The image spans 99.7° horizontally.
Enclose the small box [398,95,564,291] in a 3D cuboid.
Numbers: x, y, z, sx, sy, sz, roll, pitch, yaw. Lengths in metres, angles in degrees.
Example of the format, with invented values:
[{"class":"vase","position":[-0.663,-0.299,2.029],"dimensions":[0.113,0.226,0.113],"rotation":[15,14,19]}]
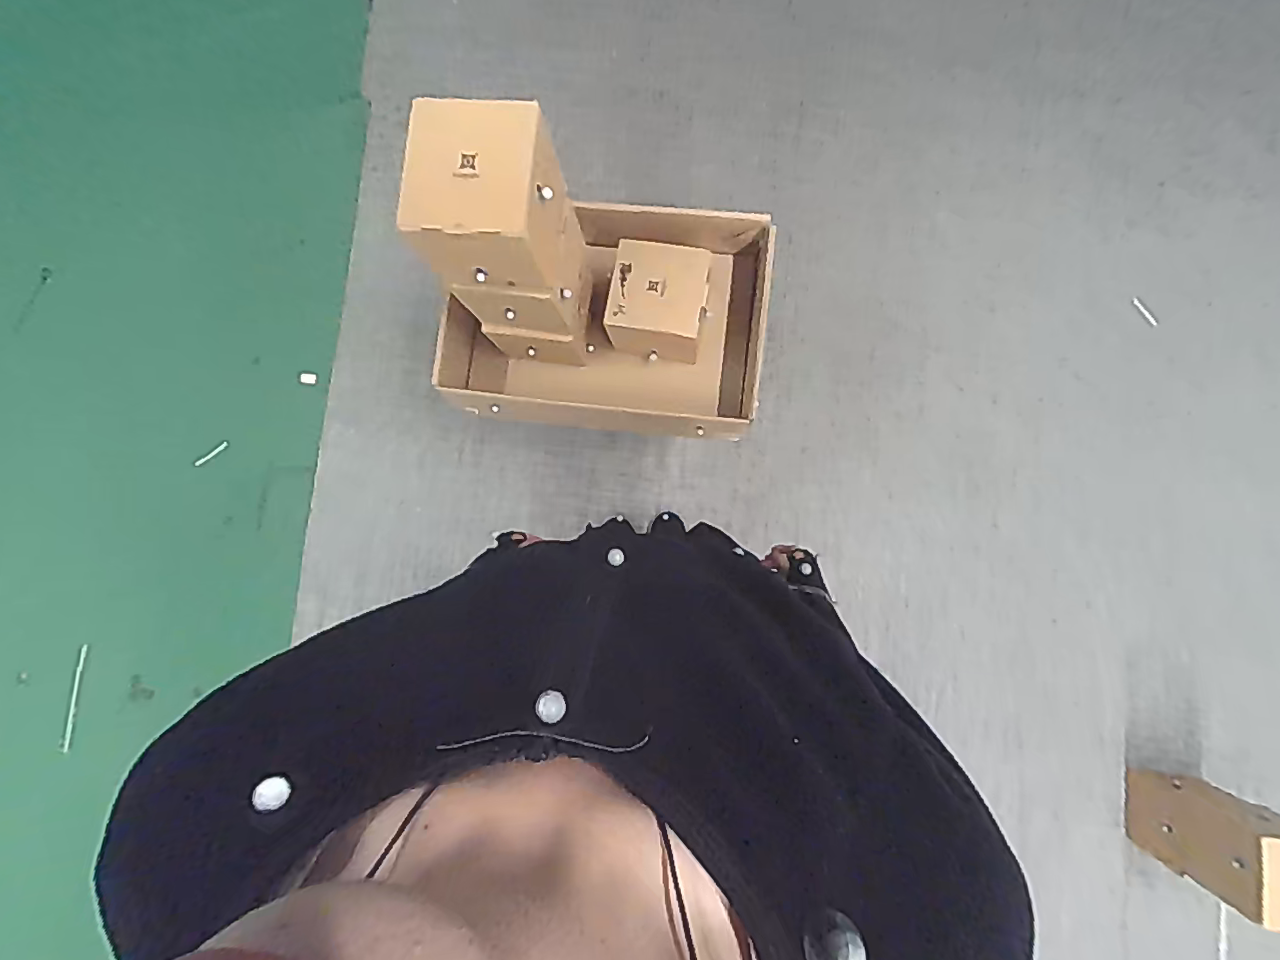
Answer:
[{"class":"small box","position":[-0.206,-0.387,0.750],"dimensions":[0.168,0.176,0.179],"rotation":[5,86,5]}]

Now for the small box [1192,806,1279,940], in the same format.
[{"class":"small box","position":[1.293,0.802,1.108],"dimensions":[0.168,0.176,0.179],"rotation":[5,85,6]}]

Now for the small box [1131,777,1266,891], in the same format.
[{"class":"small box","position":[1.306,0.828,1.270],"dimensions":[0.168,0.176,0.179],"rotation":[4,85,5]}]
